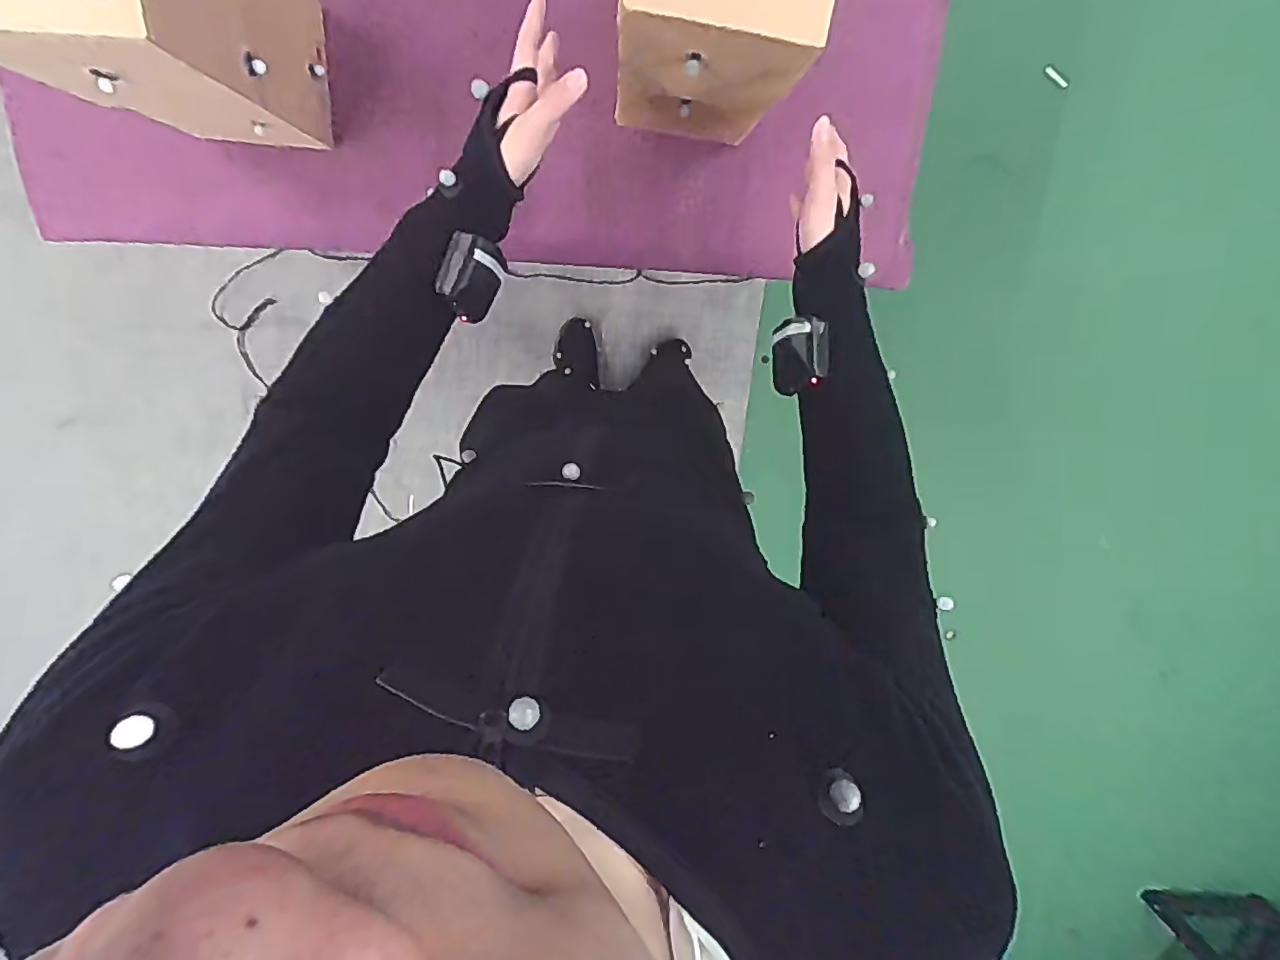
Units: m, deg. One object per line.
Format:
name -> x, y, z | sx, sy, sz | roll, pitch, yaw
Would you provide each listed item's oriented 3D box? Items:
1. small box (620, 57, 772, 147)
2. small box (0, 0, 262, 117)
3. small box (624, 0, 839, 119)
small box -> 0.072, -0.525, 0.654 | 0.179, 0.176, 0.168 | 7, 107, -5
small box -> -0.465, -0.437, 0.467 | 0.179, 0.176, 0.168 | 0, 107, -4
small box -> 0.081, -0.465, 0.501 | 0.179, 0.176, 0.168 | 8, 107, -5
